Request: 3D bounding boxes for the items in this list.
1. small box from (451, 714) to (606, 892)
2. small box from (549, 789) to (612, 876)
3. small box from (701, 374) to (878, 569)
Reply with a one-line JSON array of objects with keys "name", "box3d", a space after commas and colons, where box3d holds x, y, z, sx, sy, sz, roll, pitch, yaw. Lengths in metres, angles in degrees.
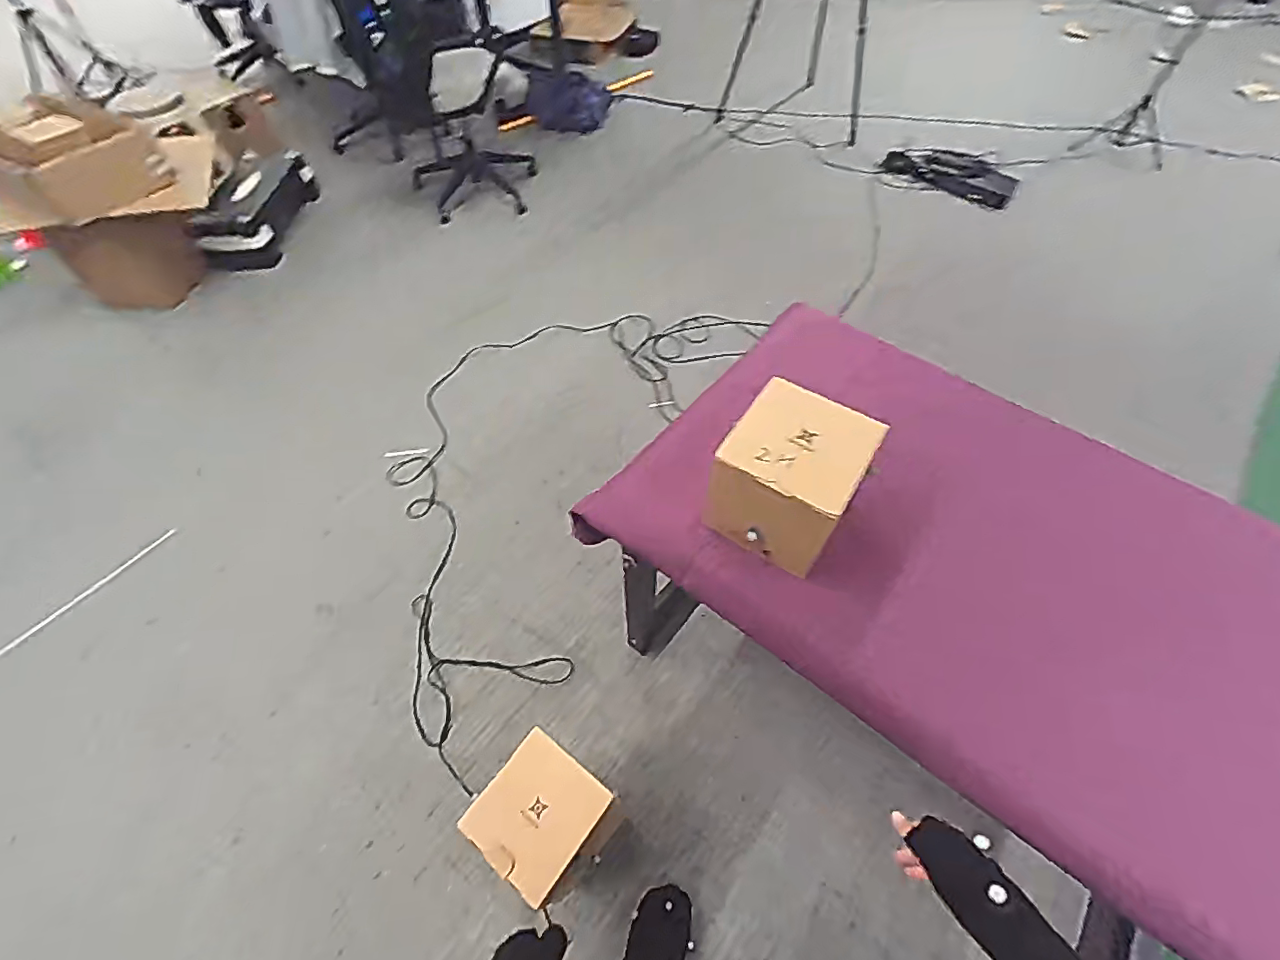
[{"name": "small box", "box3d": [-0.169, 0.519, 0.883, 0.168, 0.176, 0.179, 33, 64, 20]}, {"name": "small box", "box3d": [-0.175, 0.699, 1.157, 0.168, 0.176, 0.179, 36, 64, 21]}, {"name": "small box", "box3d": [0.200, -0.009, 0.765, 0.168, 0.176, 0.179, 30, 60, 18]}]
